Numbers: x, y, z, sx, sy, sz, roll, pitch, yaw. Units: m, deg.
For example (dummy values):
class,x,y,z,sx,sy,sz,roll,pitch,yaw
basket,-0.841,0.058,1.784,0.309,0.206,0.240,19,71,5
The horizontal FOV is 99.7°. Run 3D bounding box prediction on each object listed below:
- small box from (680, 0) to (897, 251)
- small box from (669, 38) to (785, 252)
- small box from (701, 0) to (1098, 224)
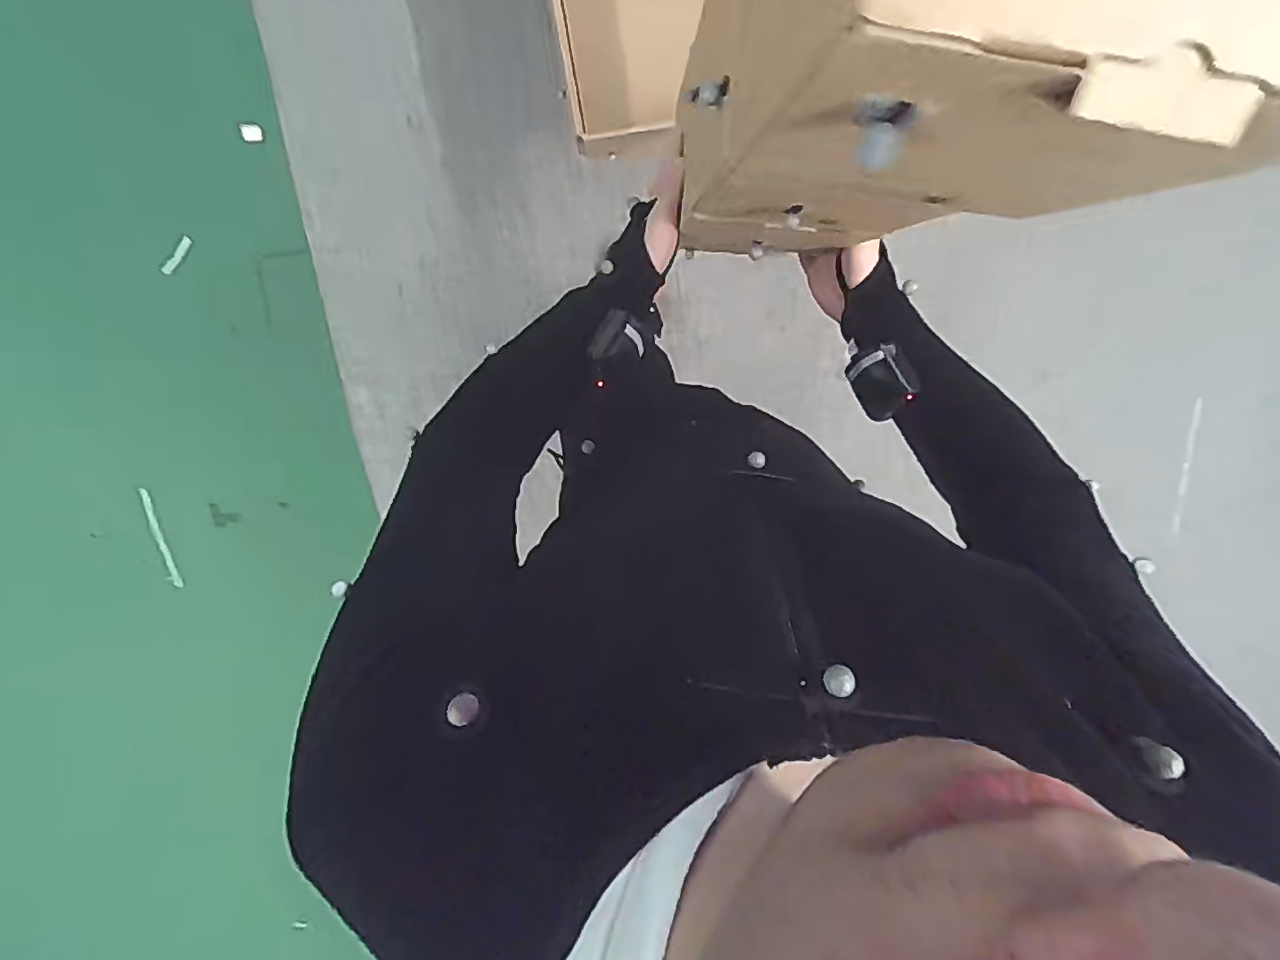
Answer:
class,x,y,z,sx,sy,sz,roll,pitch,yaw
small box,0.131,-0.315,0.485,0.168,0.176,0.179,4,108,-3
small box,0.126,-0.374,0.639,0.168,0.176,0.179,3,107,-3
small box,0.136,-0.269,0.330,0.168,0.176,0.179,3,109,-4
